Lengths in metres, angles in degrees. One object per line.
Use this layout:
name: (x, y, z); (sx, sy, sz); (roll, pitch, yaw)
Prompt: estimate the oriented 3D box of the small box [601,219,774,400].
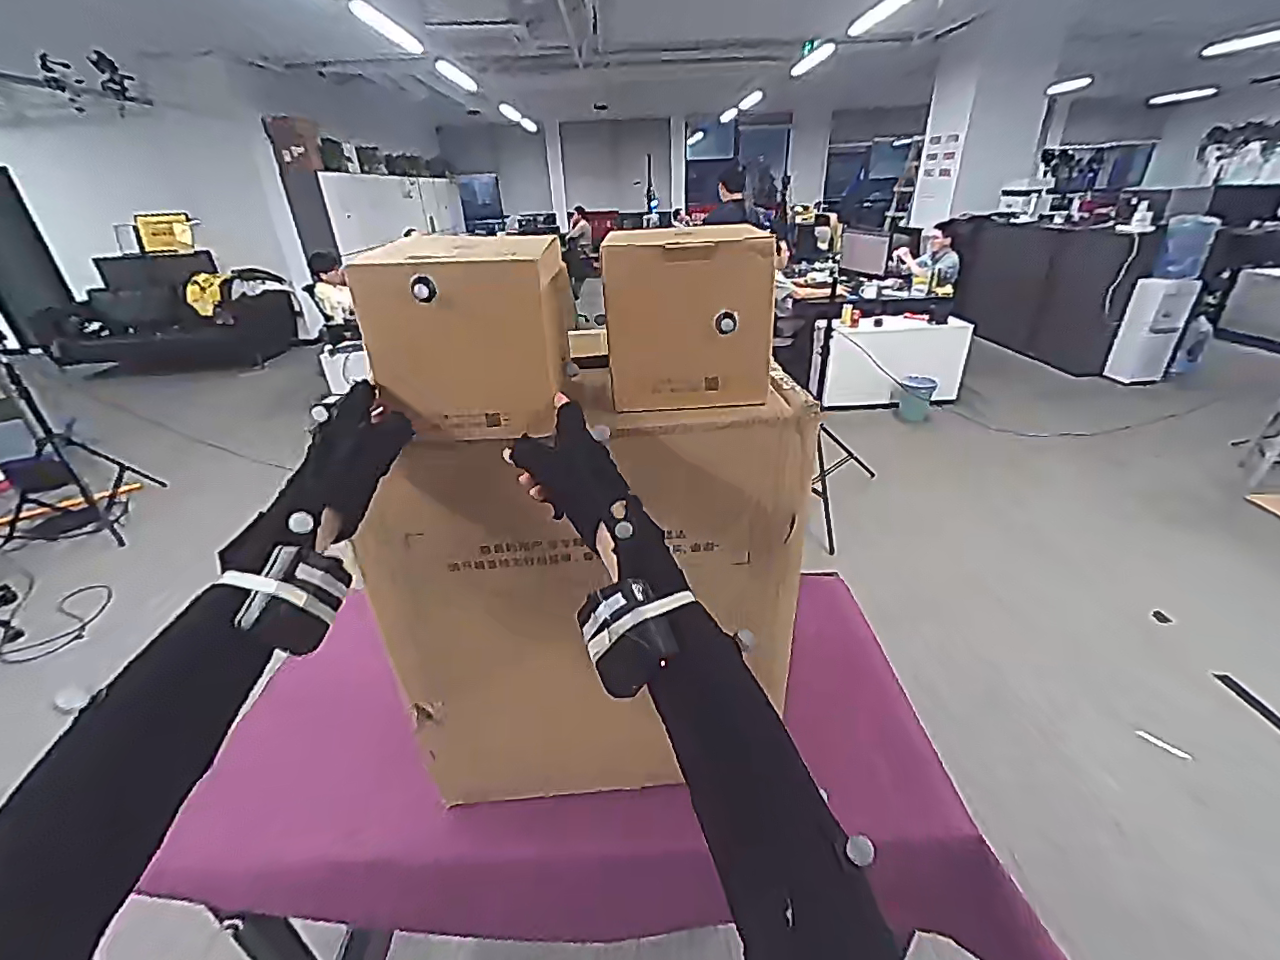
small box: (0.050, -0.192, 0.608); (0.168, 0.176, 0.179); (-2, 27, 1)
